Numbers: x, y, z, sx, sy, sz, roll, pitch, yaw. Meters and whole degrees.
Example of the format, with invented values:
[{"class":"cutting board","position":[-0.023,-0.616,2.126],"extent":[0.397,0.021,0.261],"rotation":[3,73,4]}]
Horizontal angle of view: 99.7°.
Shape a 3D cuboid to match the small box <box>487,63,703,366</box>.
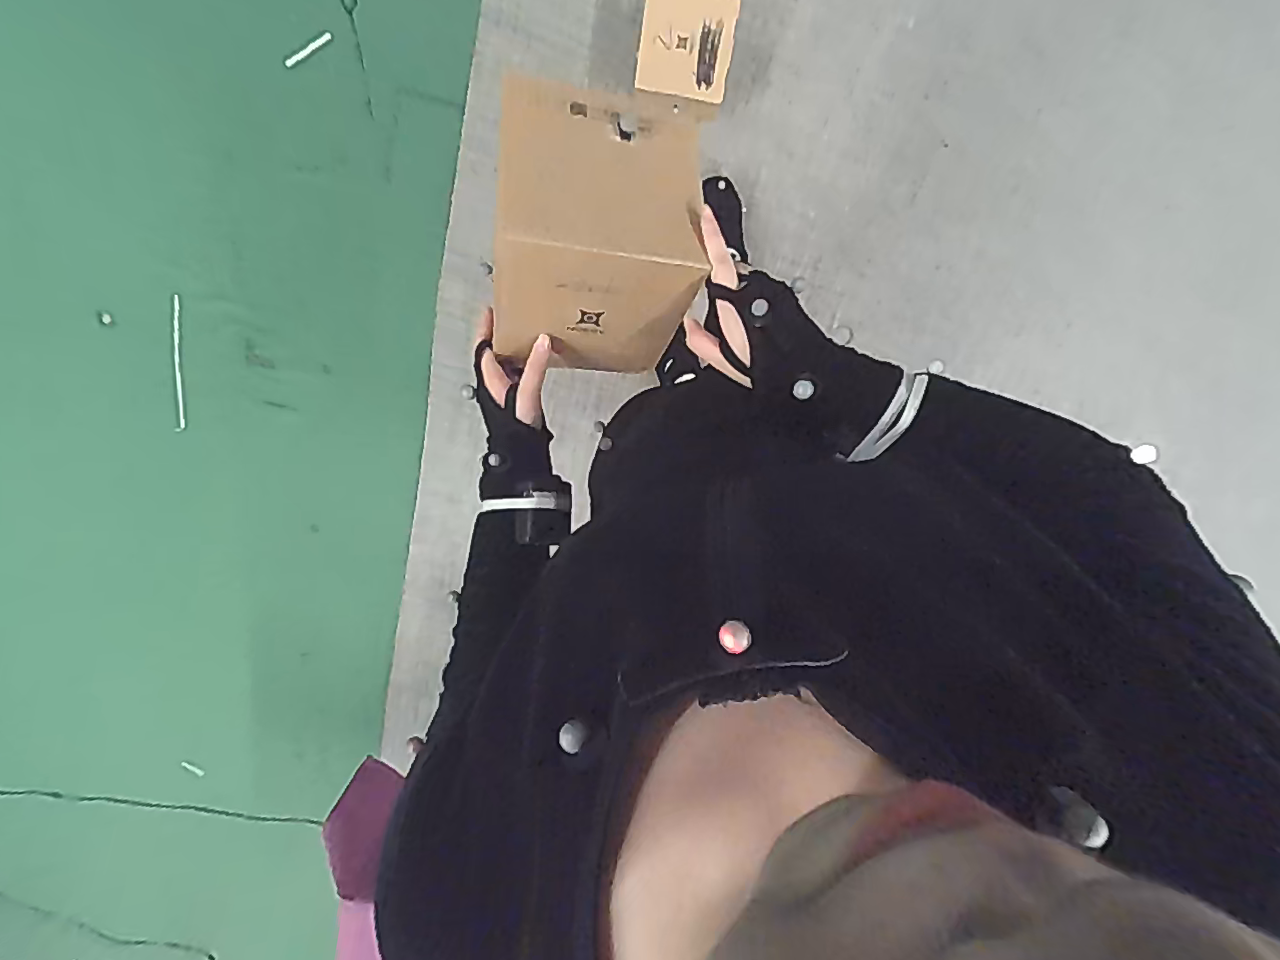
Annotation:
[{"class":"small box","position":[-0.054,-0.230,0.507],"extent":[0.168,0.179,0.176],"rotation":[1,72,-17]}]
